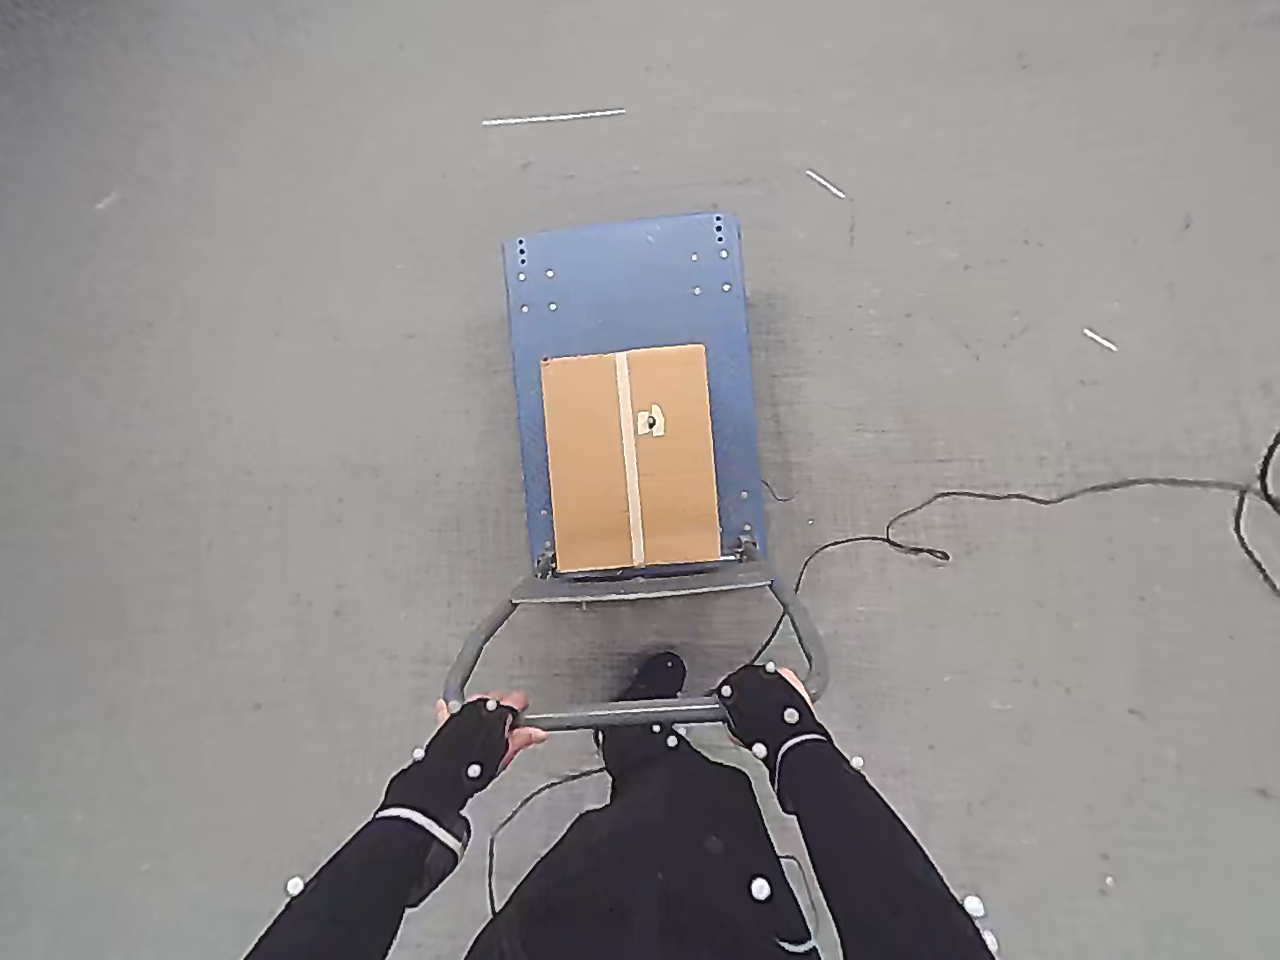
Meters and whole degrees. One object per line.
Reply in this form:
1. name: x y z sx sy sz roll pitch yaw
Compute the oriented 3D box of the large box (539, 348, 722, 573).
1. large box: -0.009 -0.035 1.166 0.320 0.320 0.408 -5 90 4
